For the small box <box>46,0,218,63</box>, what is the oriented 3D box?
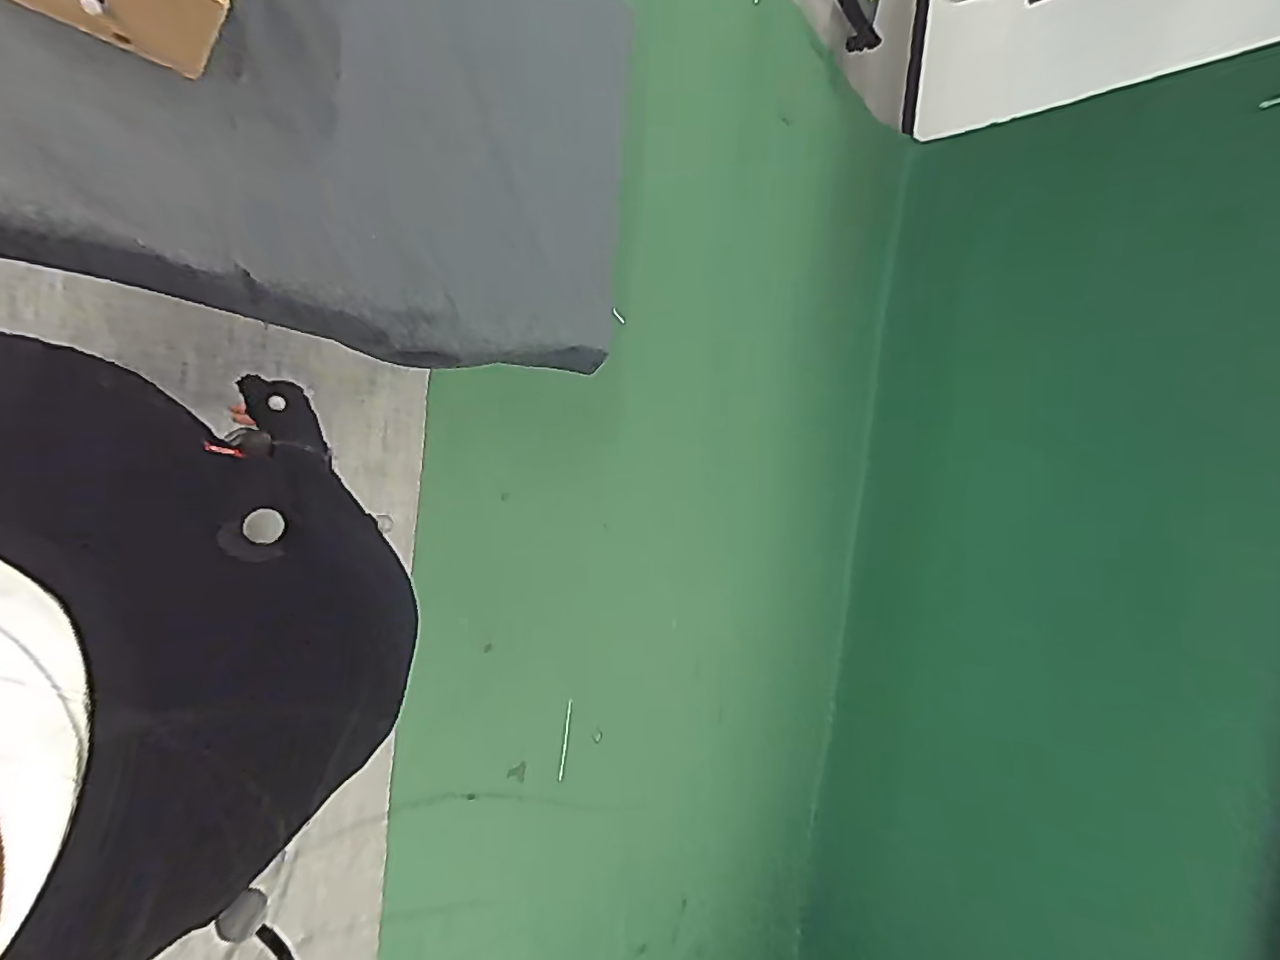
[{"bbox_3d":[-0.460,-0.504,0.450,0.168,0.176,0.179,2,96,-47],"label":"small box"}]
